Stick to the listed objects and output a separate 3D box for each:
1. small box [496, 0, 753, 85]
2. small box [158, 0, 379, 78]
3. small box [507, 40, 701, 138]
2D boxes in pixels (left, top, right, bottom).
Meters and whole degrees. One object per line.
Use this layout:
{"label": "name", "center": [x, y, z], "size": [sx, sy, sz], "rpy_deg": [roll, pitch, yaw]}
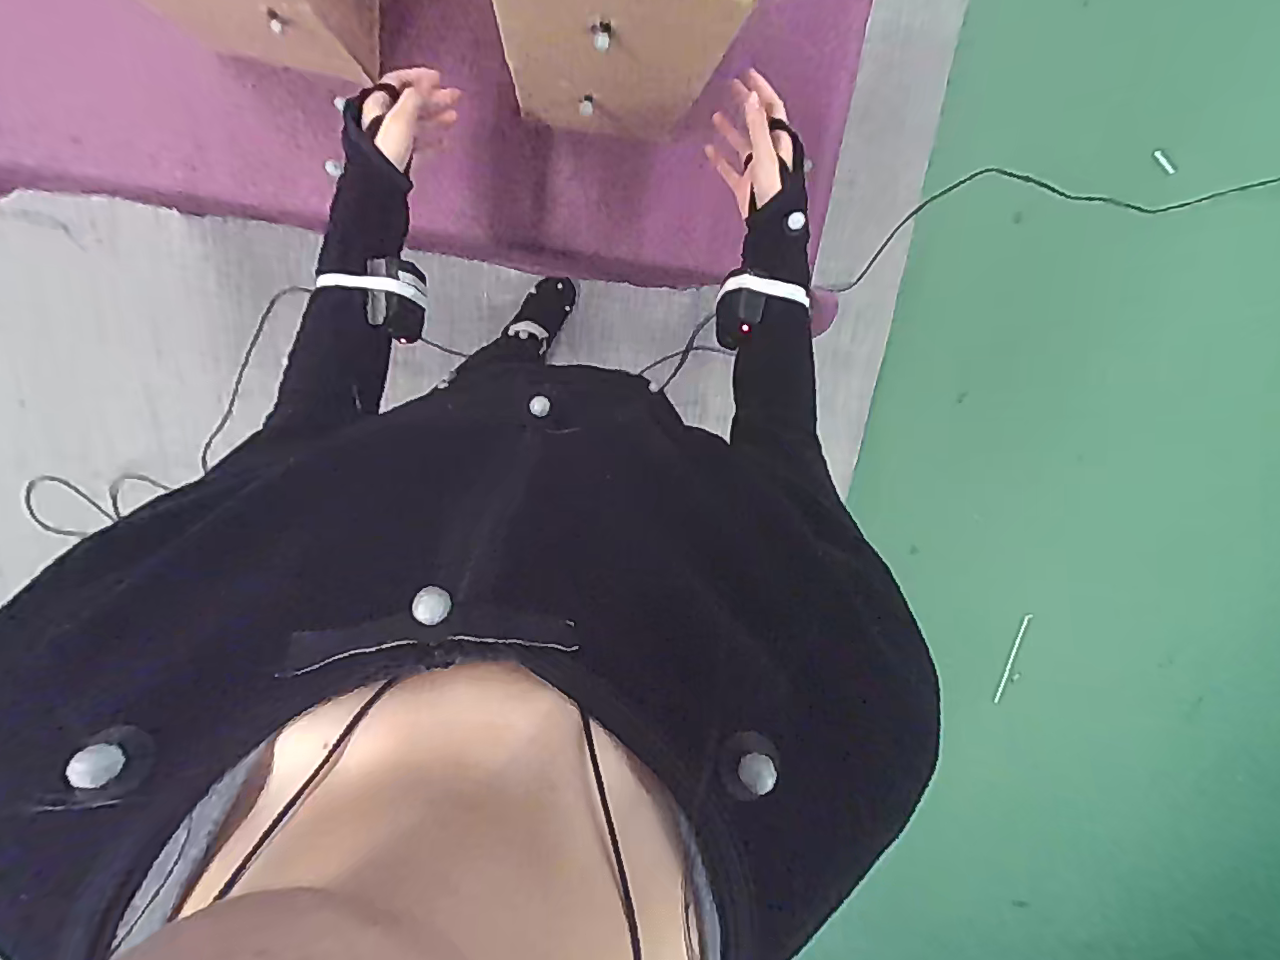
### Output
{"label": "small box", "center": [-0.011, -0.417, 0.386], "size": [0.179, 0.176, 0.168], "rpy_deg": [4, 106, -9]}
{"label": "small box", "center": [-0.354, -0.505, 0.489], "size": [0.179, 0.176, 0.168], "rpy_deg": [6, 105, -11]}
{"label": "small box", "center": [-0.032, -0.468, 0.540], "size": [0.179, 0.176, 0.168], "rpy_deg": [3, 106, -9]}
